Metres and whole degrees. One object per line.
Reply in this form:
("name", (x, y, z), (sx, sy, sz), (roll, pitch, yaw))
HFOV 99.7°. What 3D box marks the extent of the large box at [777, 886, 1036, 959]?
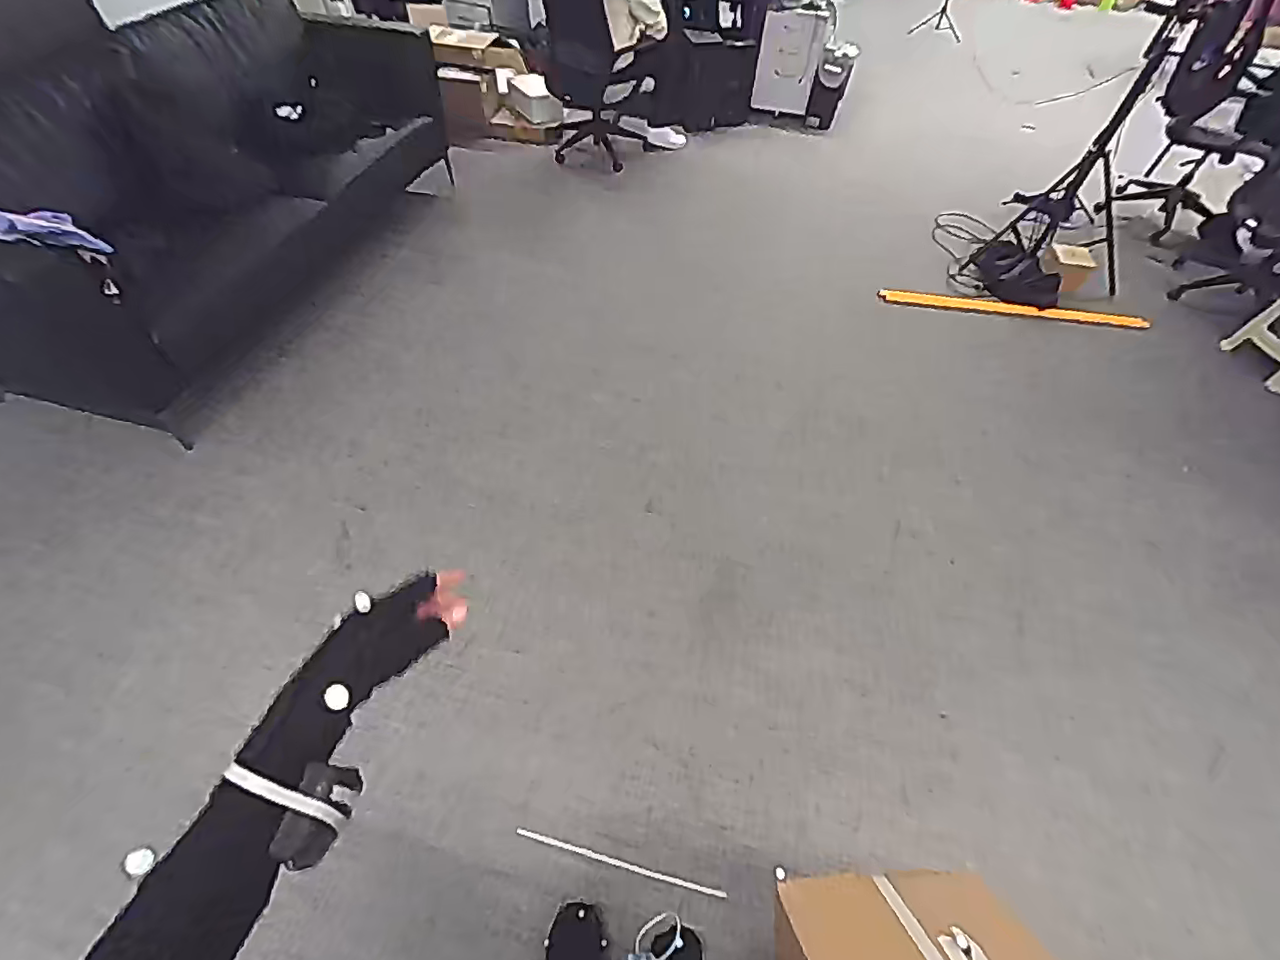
("large box", (0.372, 0.775, 0.623), (0.320, 0.408, 0.320), (1, 90, -4))
